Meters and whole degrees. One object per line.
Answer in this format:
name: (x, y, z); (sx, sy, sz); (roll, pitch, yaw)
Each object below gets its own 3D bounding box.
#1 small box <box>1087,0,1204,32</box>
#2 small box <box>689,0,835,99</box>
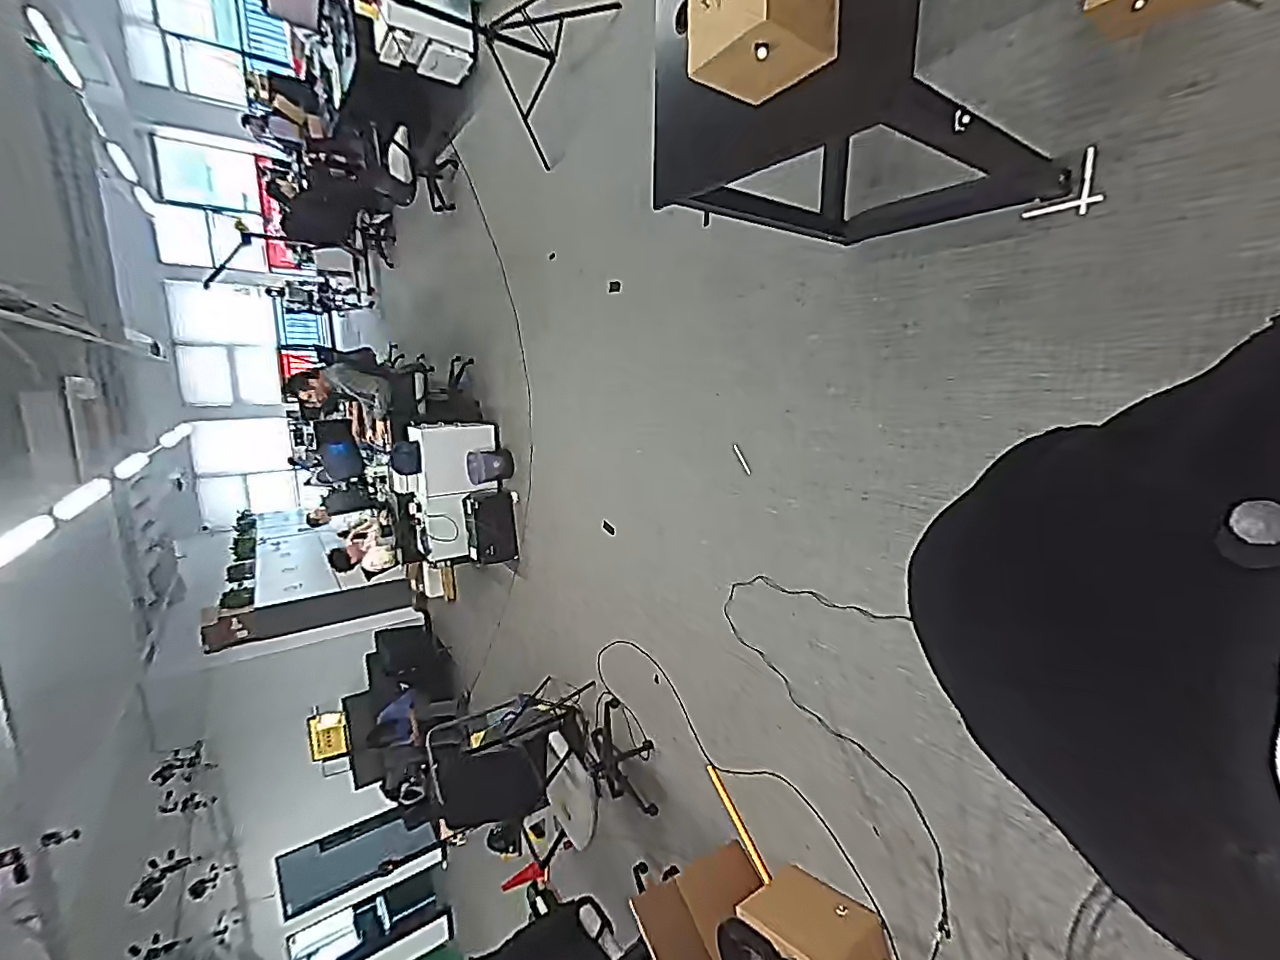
small box: (0.968, -0.979, 0.993); (0.179, 0.176, 0.168); (14, 108, 53)
small box: (0.197, -0.753, 0.865); (0.179, 0.176, 0.168); (12, 106, 55)
